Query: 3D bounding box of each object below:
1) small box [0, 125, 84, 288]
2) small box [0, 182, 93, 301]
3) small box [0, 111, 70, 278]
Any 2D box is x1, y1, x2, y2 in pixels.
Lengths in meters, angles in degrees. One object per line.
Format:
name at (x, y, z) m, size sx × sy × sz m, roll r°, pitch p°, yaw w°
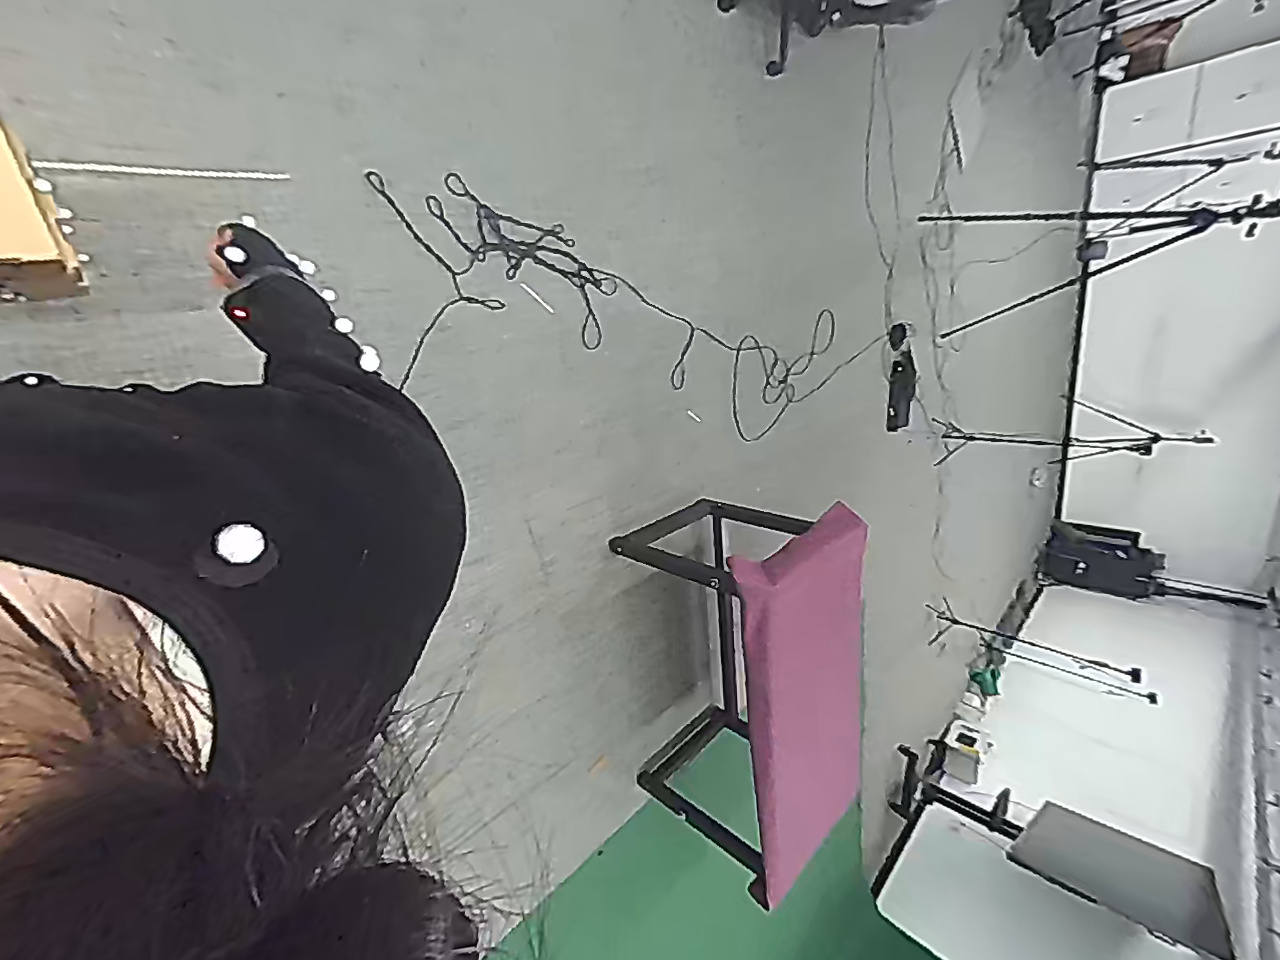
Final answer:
small box at (-0.856, -0.338, 0.682) m, size 0.179 × 0.176 × 0.168 m, roll -25°, pitch 115°, yaw -39°
small box at (-1.078, -0.399, 0.914) m, size 0.179 × 0.176 × 0.168 m, roll -23°, pitch 114°, yaw -39°
small box at (-0.748, -0.310, 0.563) m, size 0.168 × 0.176 × 0.179 m, roll -25°, pitch 116°, yaw -37°
